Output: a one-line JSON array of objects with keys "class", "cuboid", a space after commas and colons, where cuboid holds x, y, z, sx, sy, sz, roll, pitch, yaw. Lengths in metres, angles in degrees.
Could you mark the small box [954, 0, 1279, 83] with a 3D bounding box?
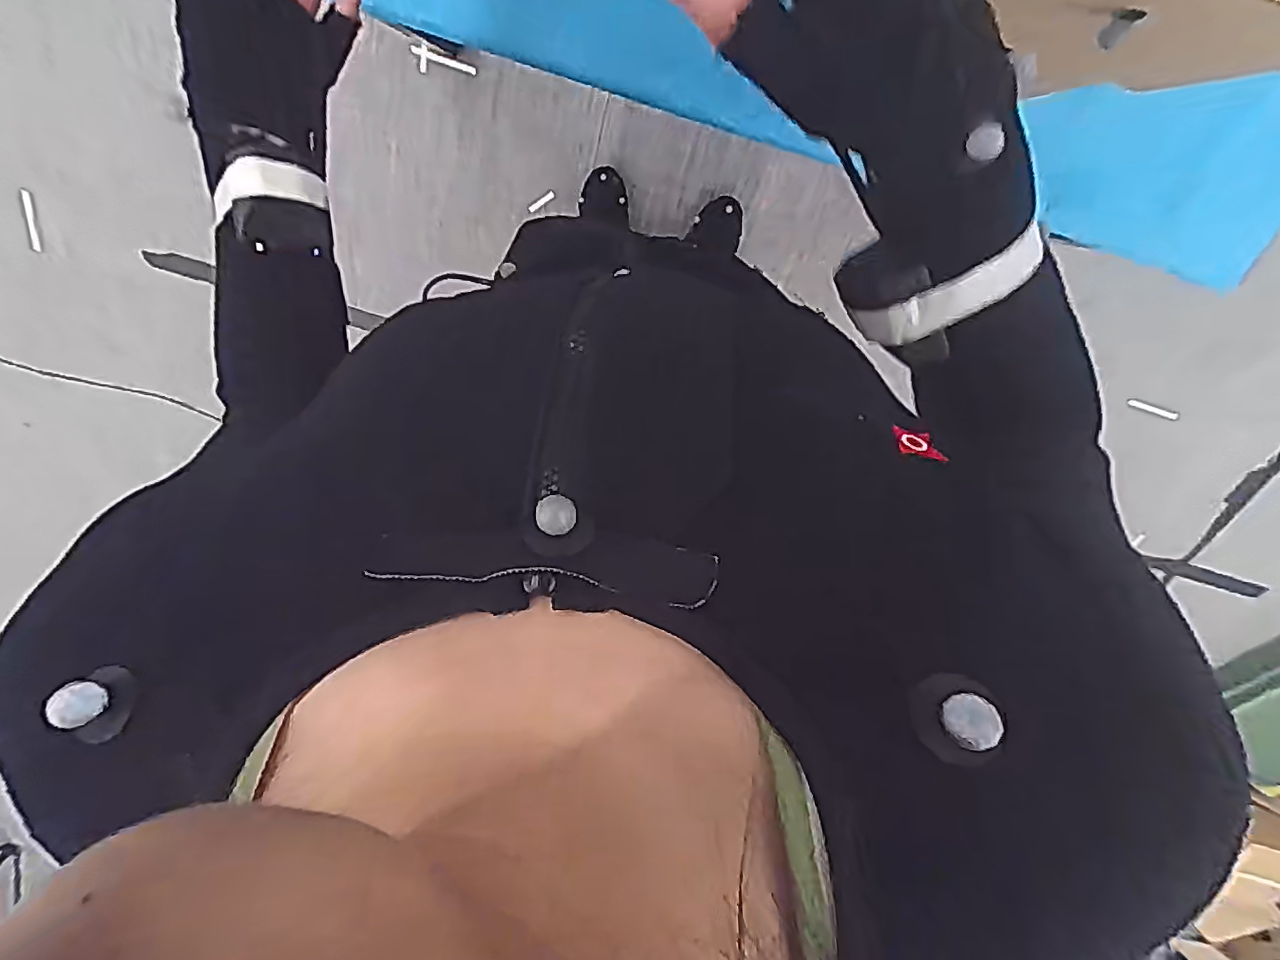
[{"class": "small box", "cuboid": [0.317, -0.341, 0.293, 0.179, 0.176, 0.168, 11, 119, -5]}]
